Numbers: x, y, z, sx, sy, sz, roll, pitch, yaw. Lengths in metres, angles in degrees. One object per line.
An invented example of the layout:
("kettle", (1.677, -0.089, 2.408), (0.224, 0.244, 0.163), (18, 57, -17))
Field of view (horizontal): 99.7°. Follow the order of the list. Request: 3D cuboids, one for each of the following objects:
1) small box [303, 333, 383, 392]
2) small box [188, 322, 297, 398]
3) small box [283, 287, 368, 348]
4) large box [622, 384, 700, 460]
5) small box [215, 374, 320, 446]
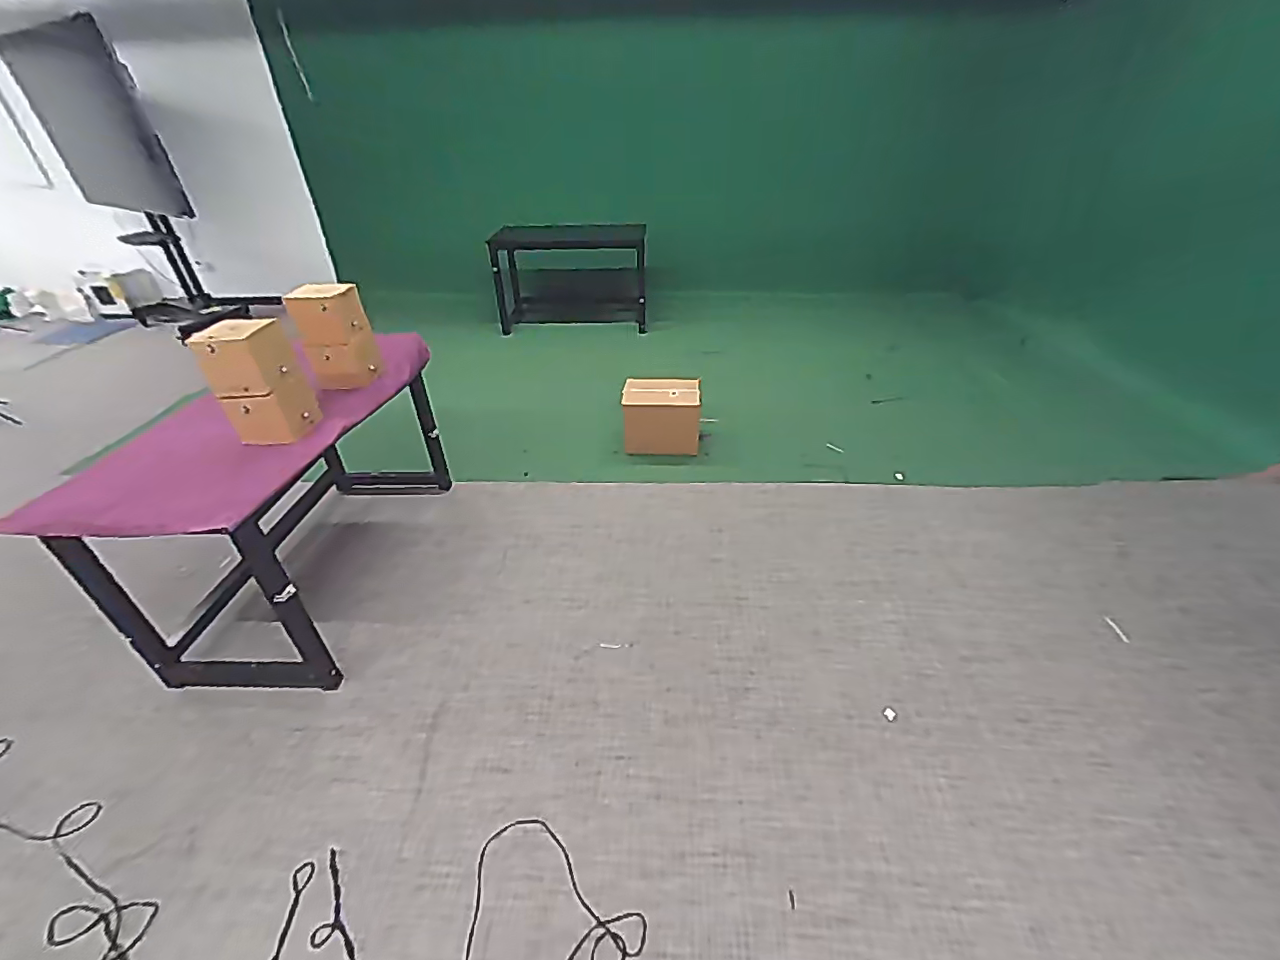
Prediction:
("small box", (-1.082, -0.431, 1.983), (0.179, 0.176, 0.168), (1, 35, 3))
("small box", (-1.135, -0.347, 1.564), (0.168, 0.176, 0.179), (-2, 33, 2))
("small box", (-1.092, -0.566, 1.893), (0.179, 0.176, 0.168), (0, 34, 3))
("large box", (0.114, -0.318, 2.941), (0.408, 0.320, 0.320), (2, 35, 4))
("small box", (-1.130, -0.212, 1.657), (0.179, 0.176, 0.168), (-1, 35, 2))
